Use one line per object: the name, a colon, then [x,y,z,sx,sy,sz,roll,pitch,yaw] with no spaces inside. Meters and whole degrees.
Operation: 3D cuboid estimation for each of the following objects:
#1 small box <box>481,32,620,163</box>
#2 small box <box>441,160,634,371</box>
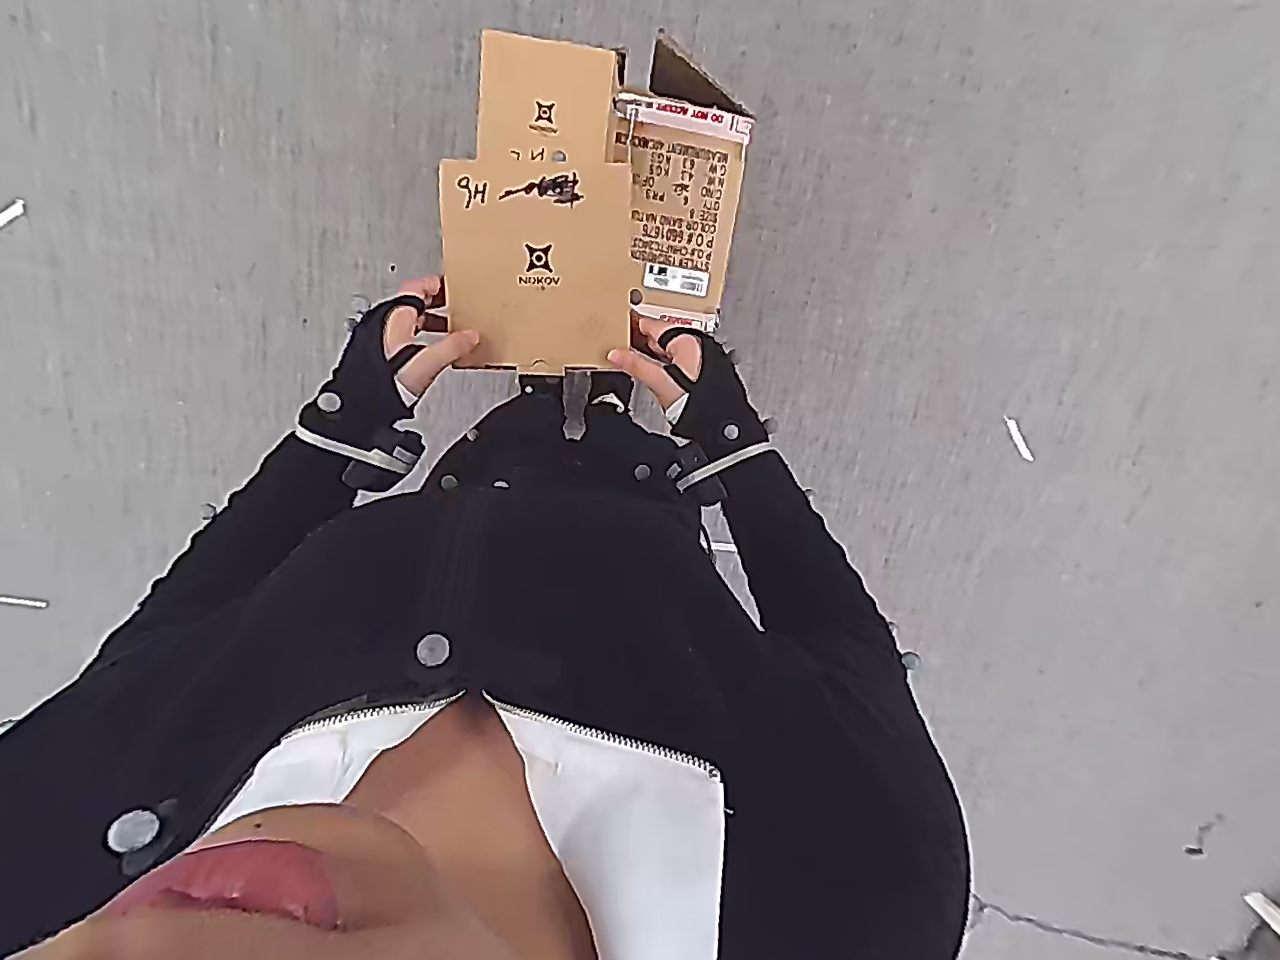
small box: [-0.120,-0.481,0.767,0.168,0.176,0.179,7,108,-2]
small box: [-0.090,-0.207,0.559,0.168,0.176,0.179,0,103,-1]
